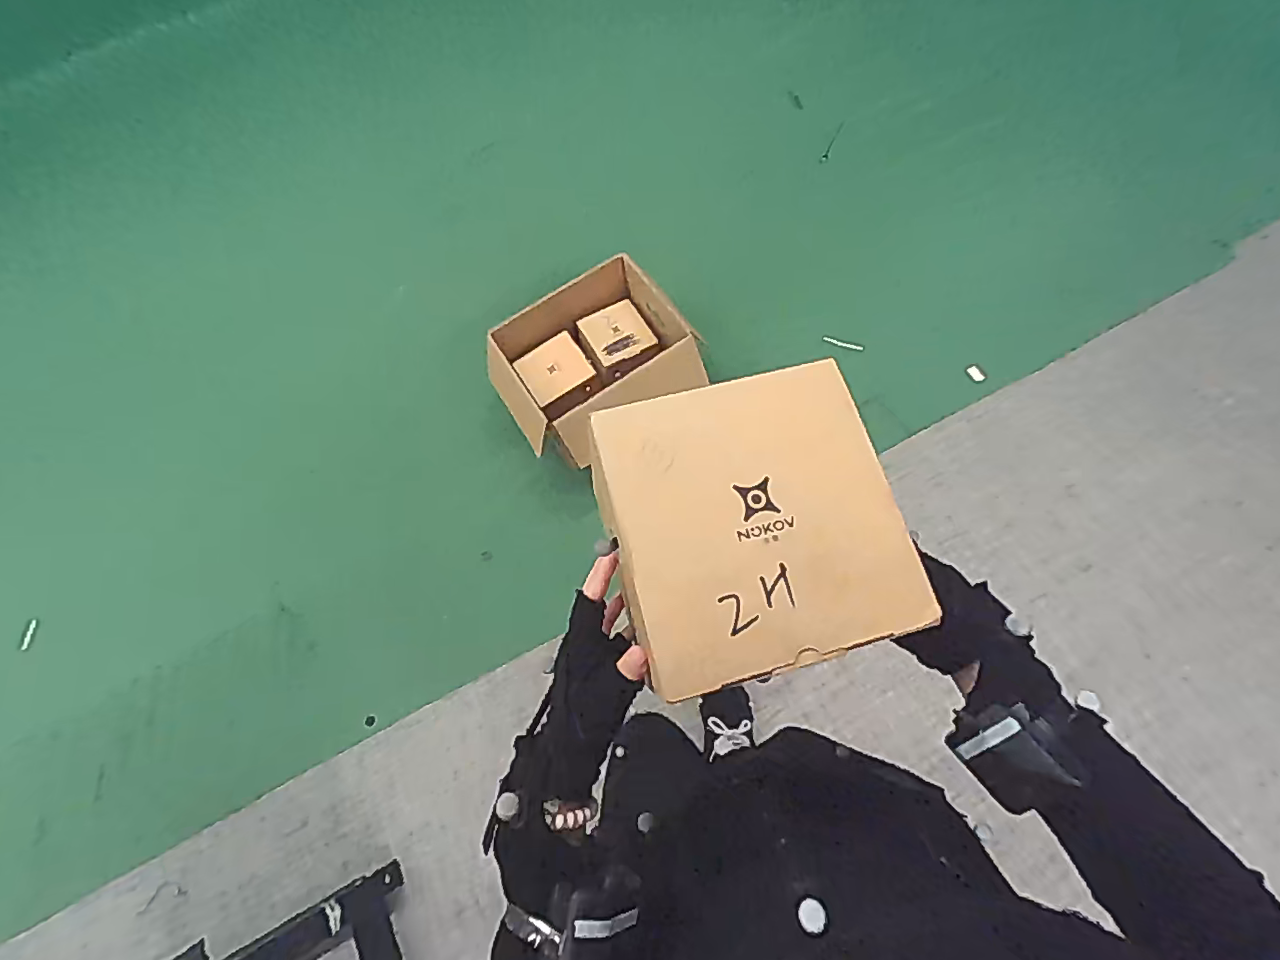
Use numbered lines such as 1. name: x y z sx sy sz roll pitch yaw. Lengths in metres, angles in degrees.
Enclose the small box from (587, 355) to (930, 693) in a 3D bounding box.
1. small box: 0.060 0.039 0.394 0.168 0.176 0.179 -14 76 -7
